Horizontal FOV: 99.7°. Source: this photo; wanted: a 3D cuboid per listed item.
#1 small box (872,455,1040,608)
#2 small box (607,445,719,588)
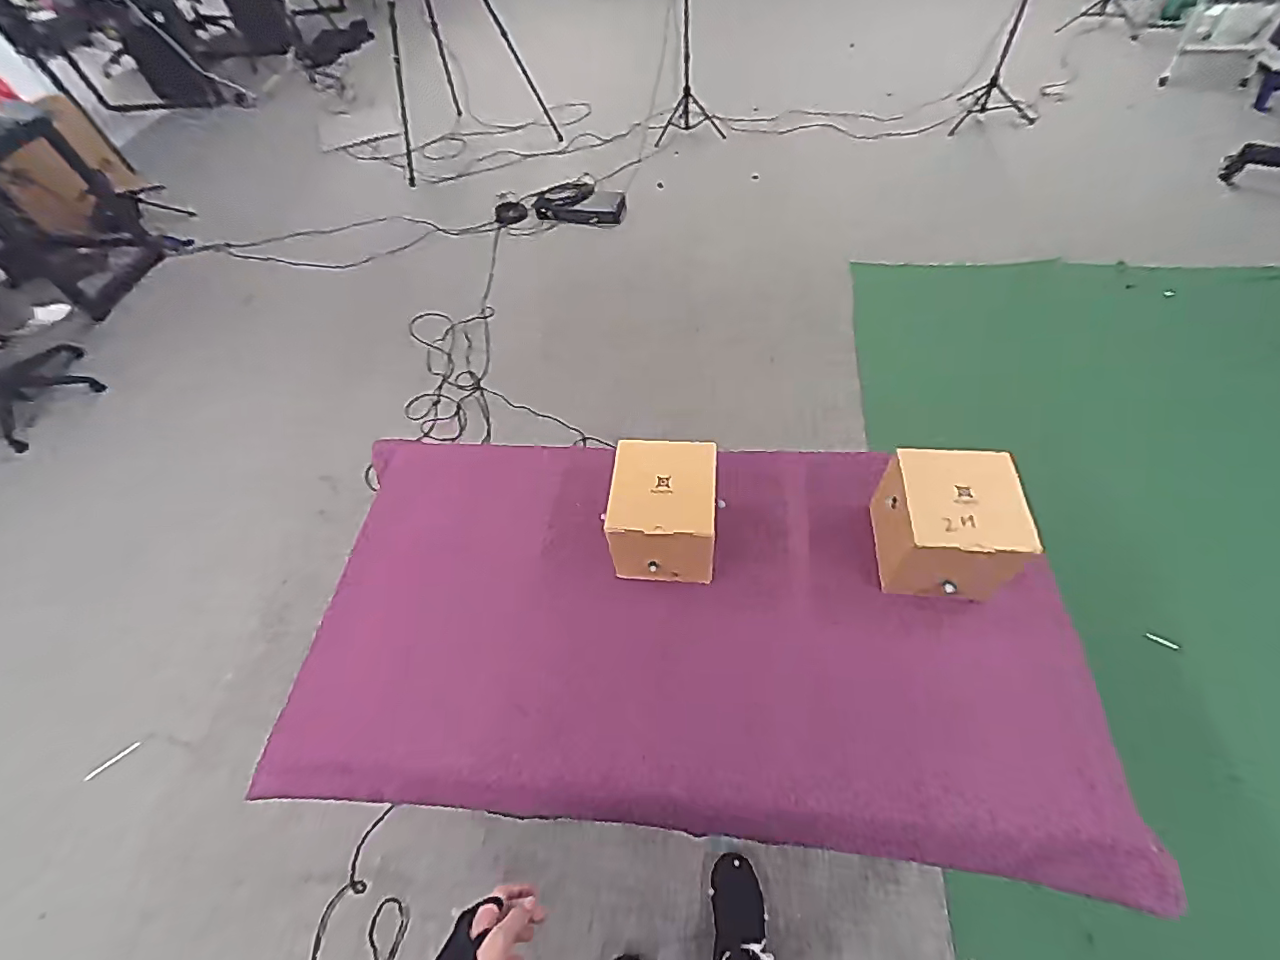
[{"bbox_3d":[0.480,0.083,0.855,0.168,0.176,0.179,3,56,8],"label":"small box"},{"bbox_3d":[0.043,0.063,0.912,0.168,0.176,0.179,3,56,7],"label":"small box"}]
